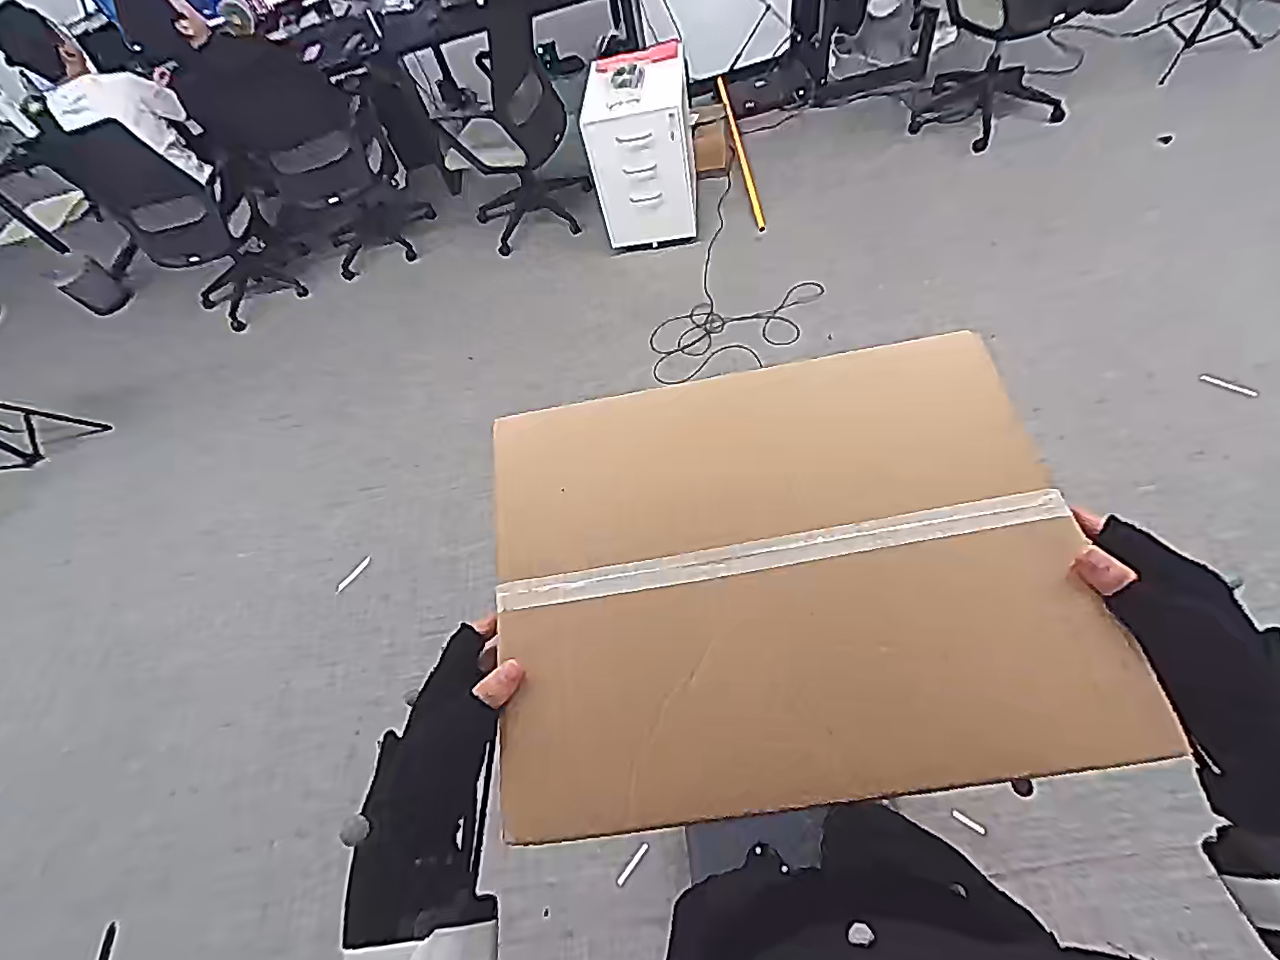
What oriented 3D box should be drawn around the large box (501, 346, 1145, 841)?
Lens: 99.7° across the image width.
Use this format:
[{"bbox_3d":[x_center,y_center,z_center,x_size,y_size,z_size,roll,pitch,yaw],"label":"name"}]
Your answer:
[{"bbox_3d":[0.114,0.119,0.534,0.408,0.320,0.320,-10,64,3],"label":"large box"}]
